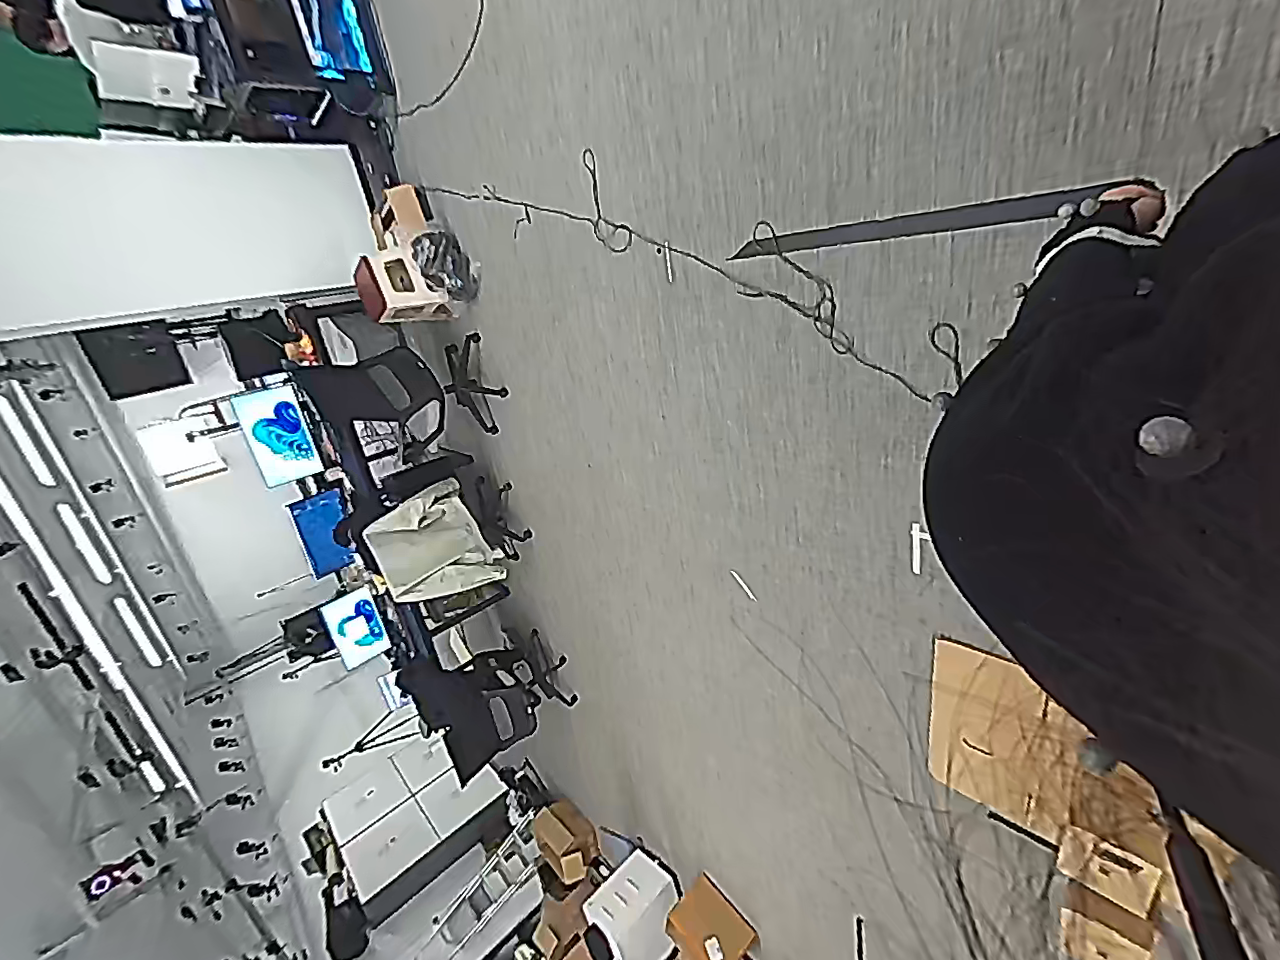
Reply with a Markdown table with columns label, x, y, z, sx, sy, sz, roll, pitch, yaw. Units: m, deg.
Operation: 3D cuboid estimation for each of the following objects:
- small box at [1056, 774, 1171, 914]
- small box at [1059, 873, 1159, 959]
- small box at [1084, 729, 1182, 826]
| label | x | y | z | sx | sy | sz | roll | pitch | yaw |
| --- | --- | --- | --- | --- | --- | --- | --- | --- | --- |
| small box | 1.109 | 0.840 | 1.267 | 0.168 | 0.176 | 0.179 | 16 | 124 | 45 |
| small box | 1.168 | 1.093 | 1.346 | 0.168 | 0.176 | 0.179 | 7 | 116 | 48 |
| small box | 1.228 | 0.771 | 1.357 | 0.168 | 0.176 | 0.179 | 12 | 121 | 48 |
